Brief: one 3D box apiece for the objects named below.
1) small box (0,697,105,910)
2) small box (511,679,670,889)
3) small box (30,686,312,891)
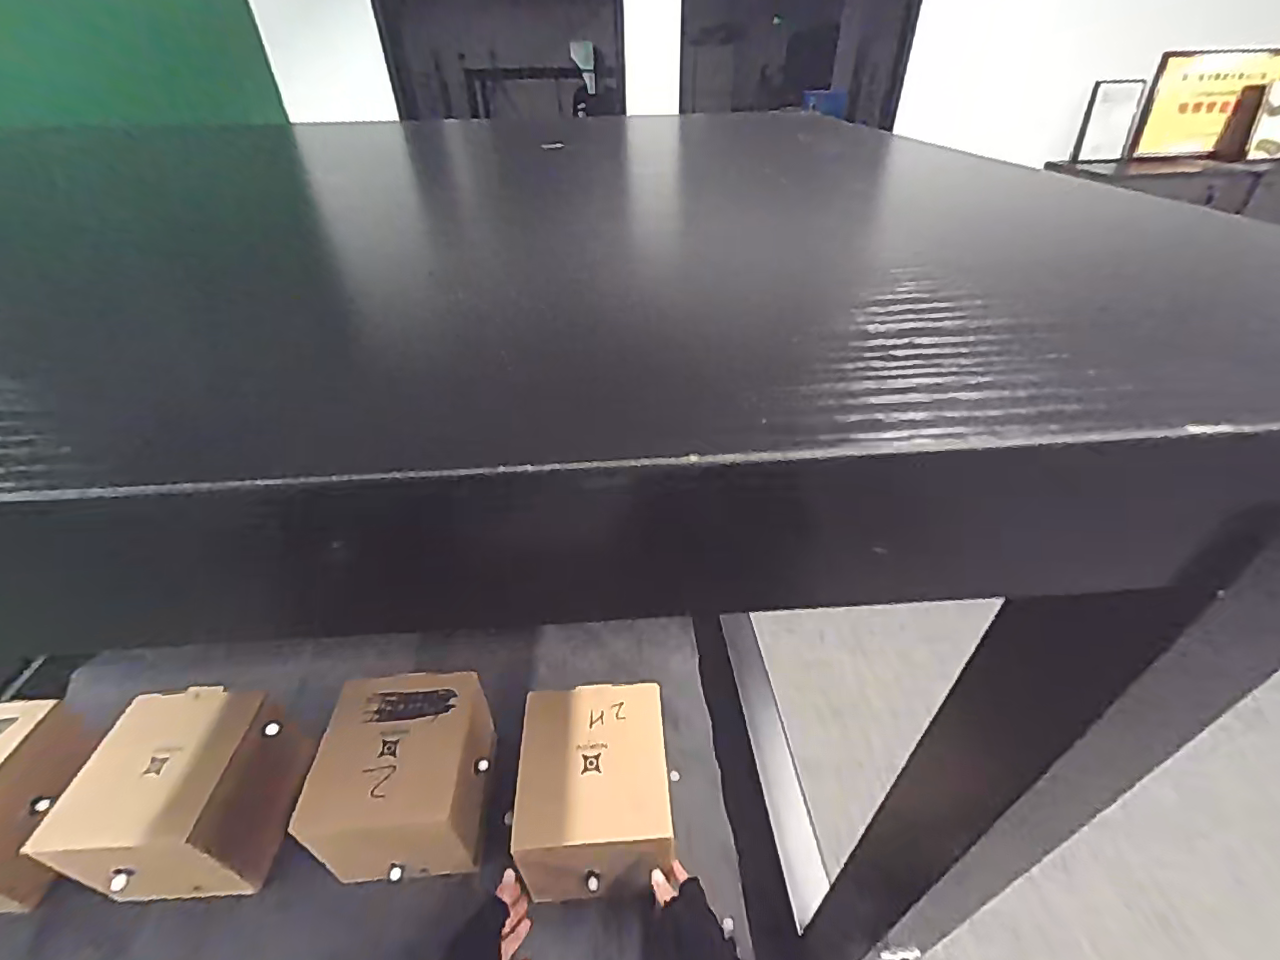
[{"bbox_3d":[-0.796,0.390,0.655,0.168,0.176,0.179,-2,38,-2],"label":"small box"},{"bbox_3d":[-0.052,0.373,0.662,0.168,0.176,0.179,-4,37,-2],"label":"small box"},{"bbox_3d":[-0.544,0.381,0.666,0.168,0.176,0.179,-2,38,-2],"label":"small box"}]
